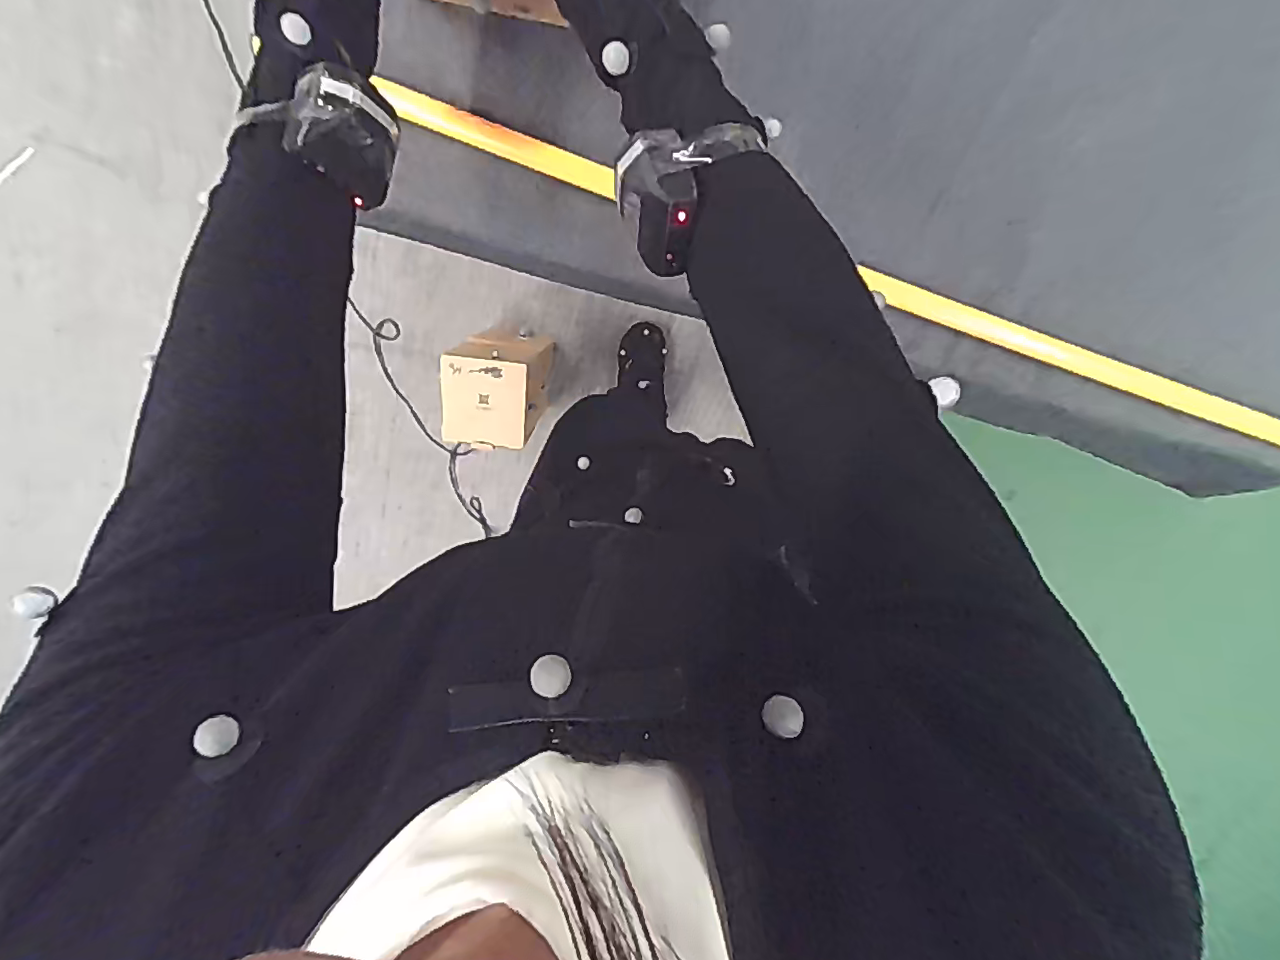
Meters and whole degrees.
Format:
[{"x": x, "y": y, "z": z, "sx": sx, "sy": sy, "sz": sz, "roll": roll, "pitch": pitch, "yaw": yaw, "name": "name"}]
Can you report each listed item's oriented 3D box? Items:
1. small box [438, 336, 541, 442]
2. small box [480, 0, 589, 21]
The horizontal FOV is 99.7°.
[{"x": -0.304, "y": -0.194, "z": 1.129, "sx": 0.168, "sy": 0.176, "sz": 0.179, "roll": 4, "pitch": 113, "yaw": 0, "name": "small box"}, {"x": -0.114, "y": -0.485, "z": 0.390, "sx": 0.168, "sy": 0.176, "sz": 0.179, "roll": 9, "pitch": 113, "yaw": -3, "name": "small box"}]
